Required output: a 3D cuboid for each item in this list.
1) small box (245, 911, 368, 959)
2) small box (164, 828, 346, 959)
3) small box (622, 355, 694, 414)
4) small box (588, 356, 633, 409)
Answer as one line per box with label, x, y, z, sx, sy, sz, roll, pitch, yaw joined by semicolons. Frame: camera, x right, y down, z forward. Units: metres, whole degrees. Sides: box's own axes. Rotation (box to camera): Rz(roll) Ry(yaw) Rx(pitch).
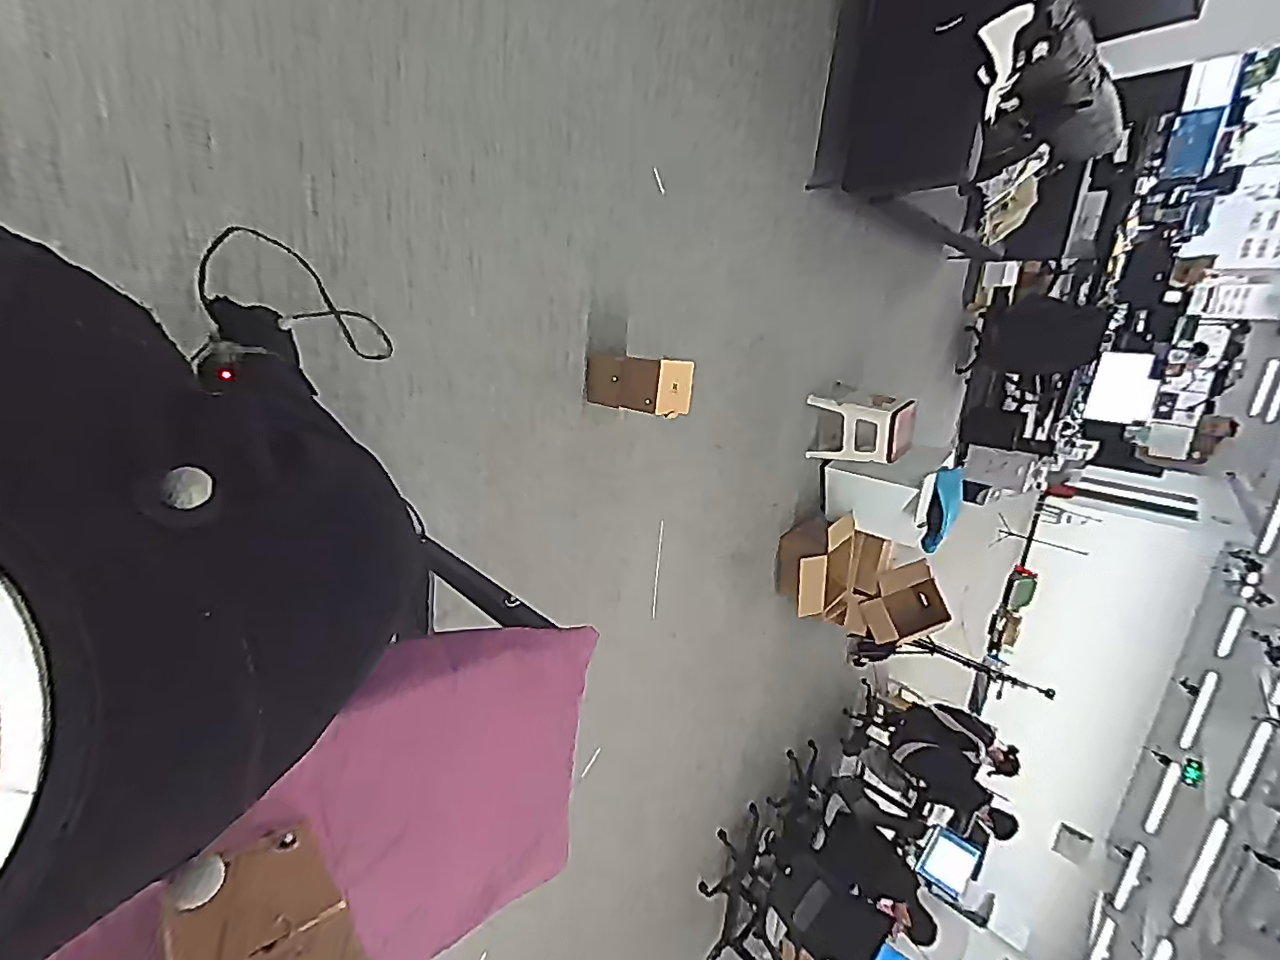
small box;-0.386;0.647;0.598;0.168;0.176;0.179;-6;108;-45
small box;-0.501;0.600;0.705;0.168;0.176;0.179;-5;108;-45
small box;0.056;-0.319;1.796;0.168;0.176;0.179;-9;111;-44
small box;-0.061;-0.346;1.907;0.179;0.176;0.168;-10;111;-45
